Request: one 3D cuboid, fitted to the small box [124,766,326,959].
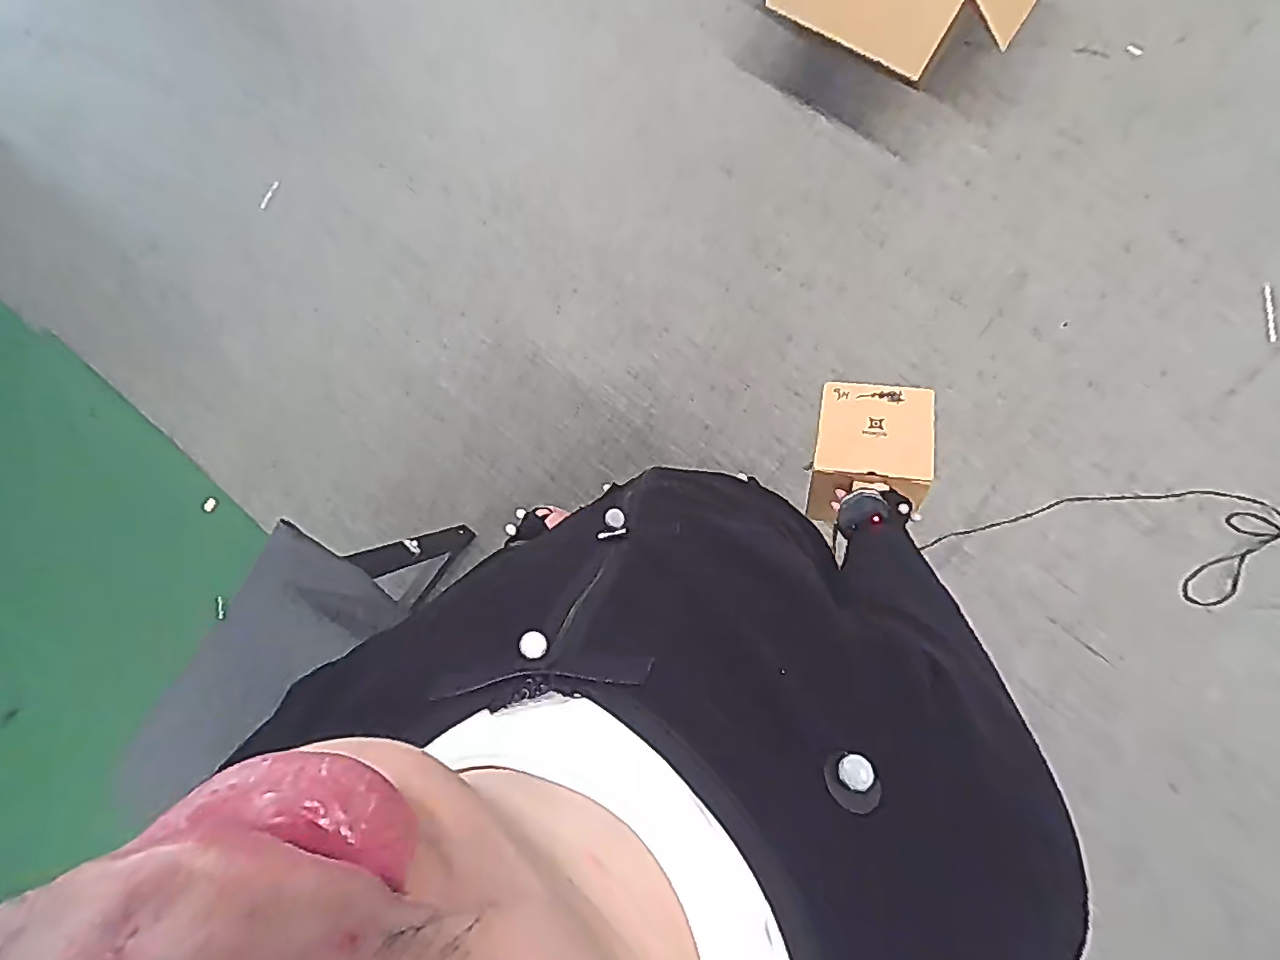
[{"bbox_3d":[-0.651,0.608,0.870,0.168,0.176,0.179,31,97,8],"label":"small box"}]

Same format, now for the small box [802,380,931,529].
[{"bbox_3d":[0.365,-0.038,0.889,0.168,0.176,0.179,9,61,16],"label":"small box"}]
